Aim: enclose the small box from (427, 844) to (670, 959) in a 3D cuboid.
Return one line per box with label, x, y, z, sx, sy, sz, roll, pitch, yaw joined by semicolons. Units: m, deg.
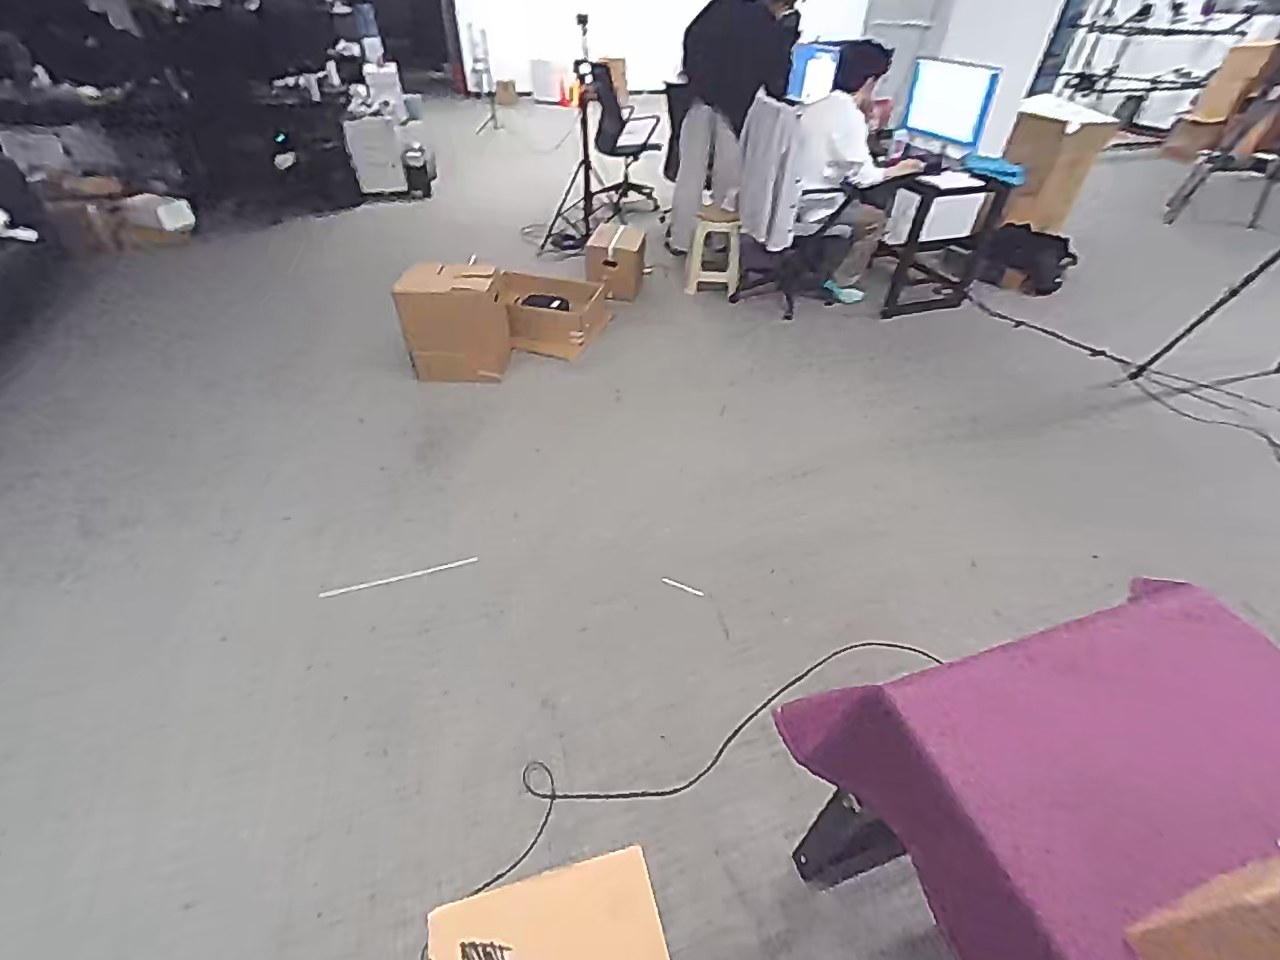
small box;-0.072;0.433;0.439;0.179;0.176;0.168;-4;45;-19
